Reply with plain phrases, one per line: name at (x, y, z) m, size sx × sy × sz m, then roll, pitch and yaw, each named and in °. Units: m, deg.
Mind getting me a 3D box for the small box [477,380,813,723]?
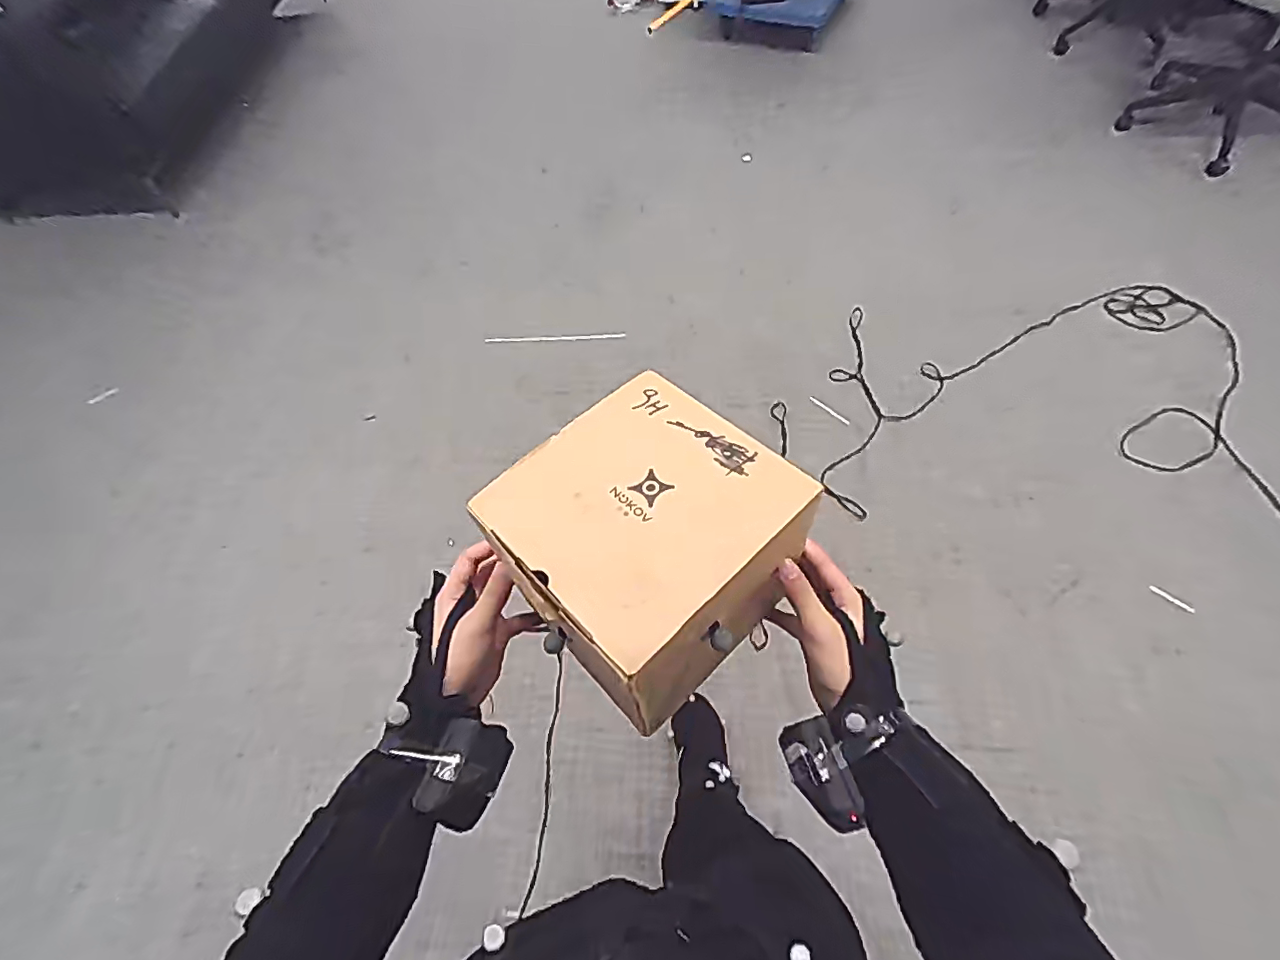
small box at (0.009, 0.061, 0.432) m, size 0.179 × 0.176 × 0.168 m, roll -39°, pitch 60°, yaw -20°
